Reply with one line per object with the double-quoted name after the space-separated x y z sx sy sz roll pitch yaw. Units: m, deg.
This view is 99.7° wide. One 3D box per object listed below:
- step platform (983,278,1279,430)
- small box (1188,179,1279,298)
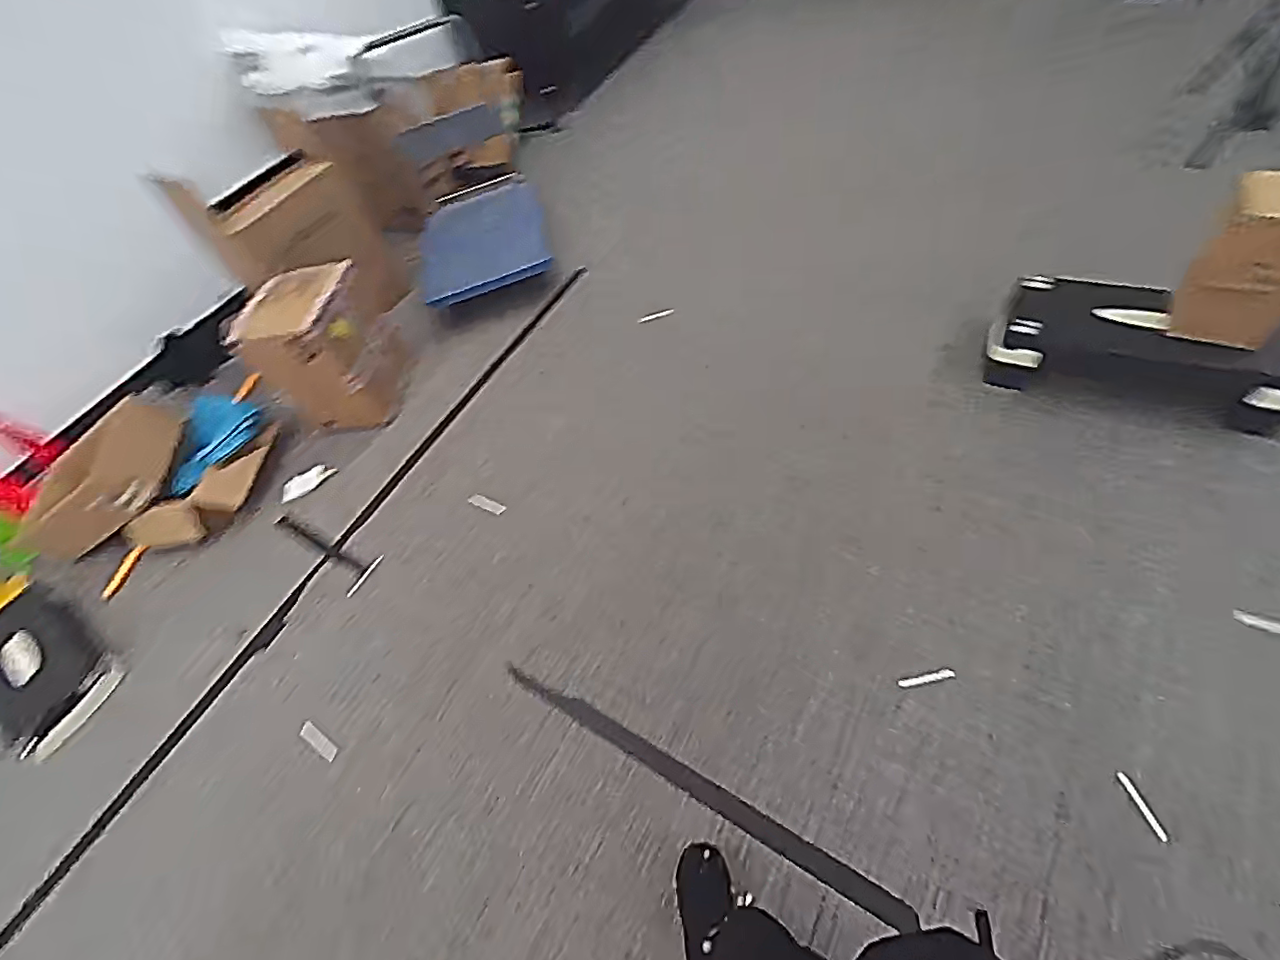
1.368 -0.372 1.496 0.684 0.204 0.286 18 61 27 "step platform"
1.357 -0.531 1.188 0.168 0.176 0.179 17 62 25 "small box"
